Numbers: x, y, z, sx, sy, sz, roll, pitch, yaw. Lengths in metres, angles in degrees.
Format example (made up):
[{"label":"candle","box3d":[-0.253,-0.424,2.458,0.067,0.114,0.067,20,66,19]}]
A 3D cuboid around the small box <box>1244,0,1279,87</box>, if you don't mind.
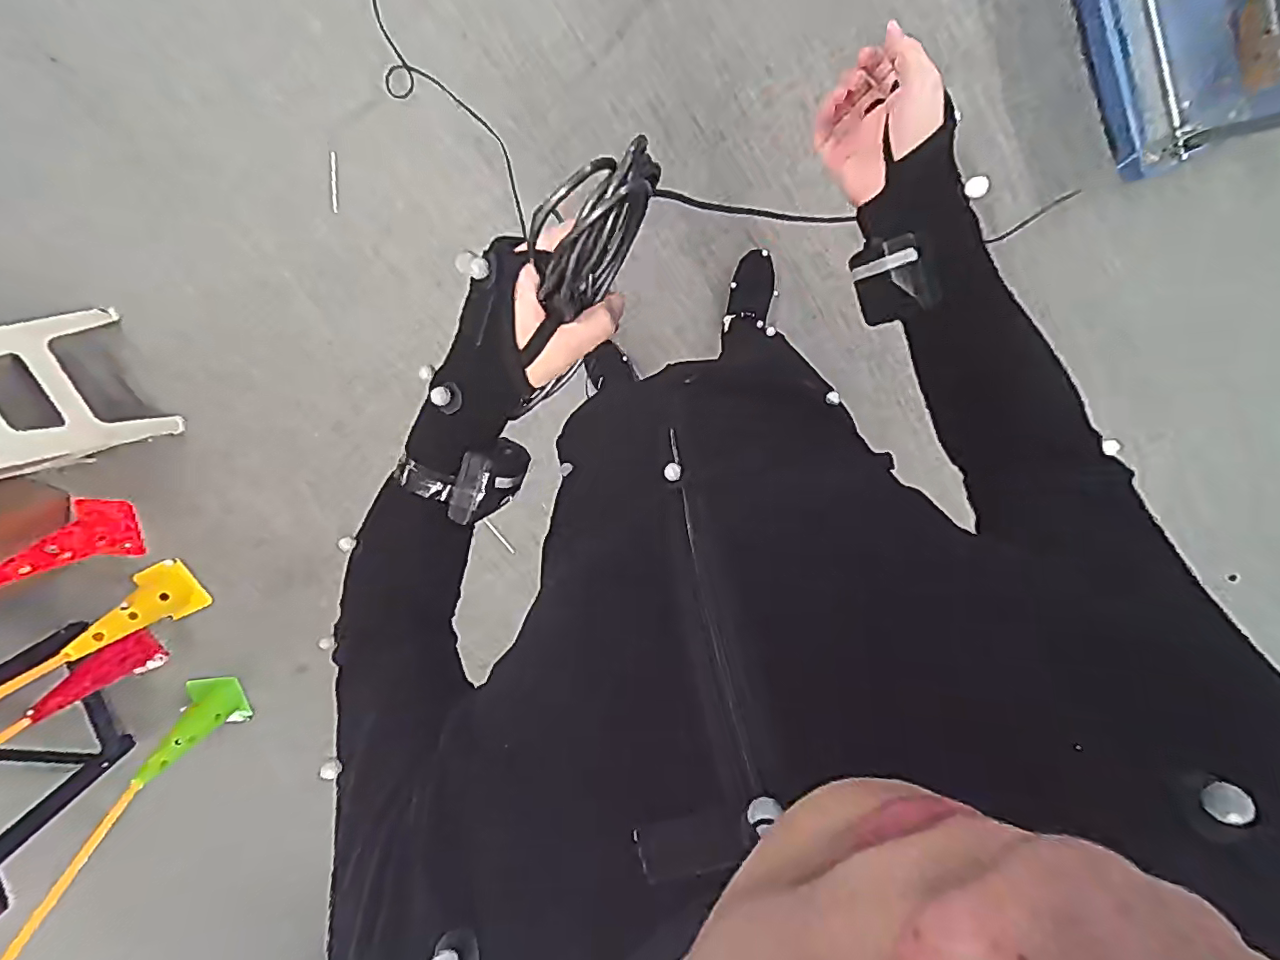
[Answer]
[{"label":"small box","box3d":[1.313,-0.886,1.008,0.179,0.176,0.168,-27,106,13]}]
